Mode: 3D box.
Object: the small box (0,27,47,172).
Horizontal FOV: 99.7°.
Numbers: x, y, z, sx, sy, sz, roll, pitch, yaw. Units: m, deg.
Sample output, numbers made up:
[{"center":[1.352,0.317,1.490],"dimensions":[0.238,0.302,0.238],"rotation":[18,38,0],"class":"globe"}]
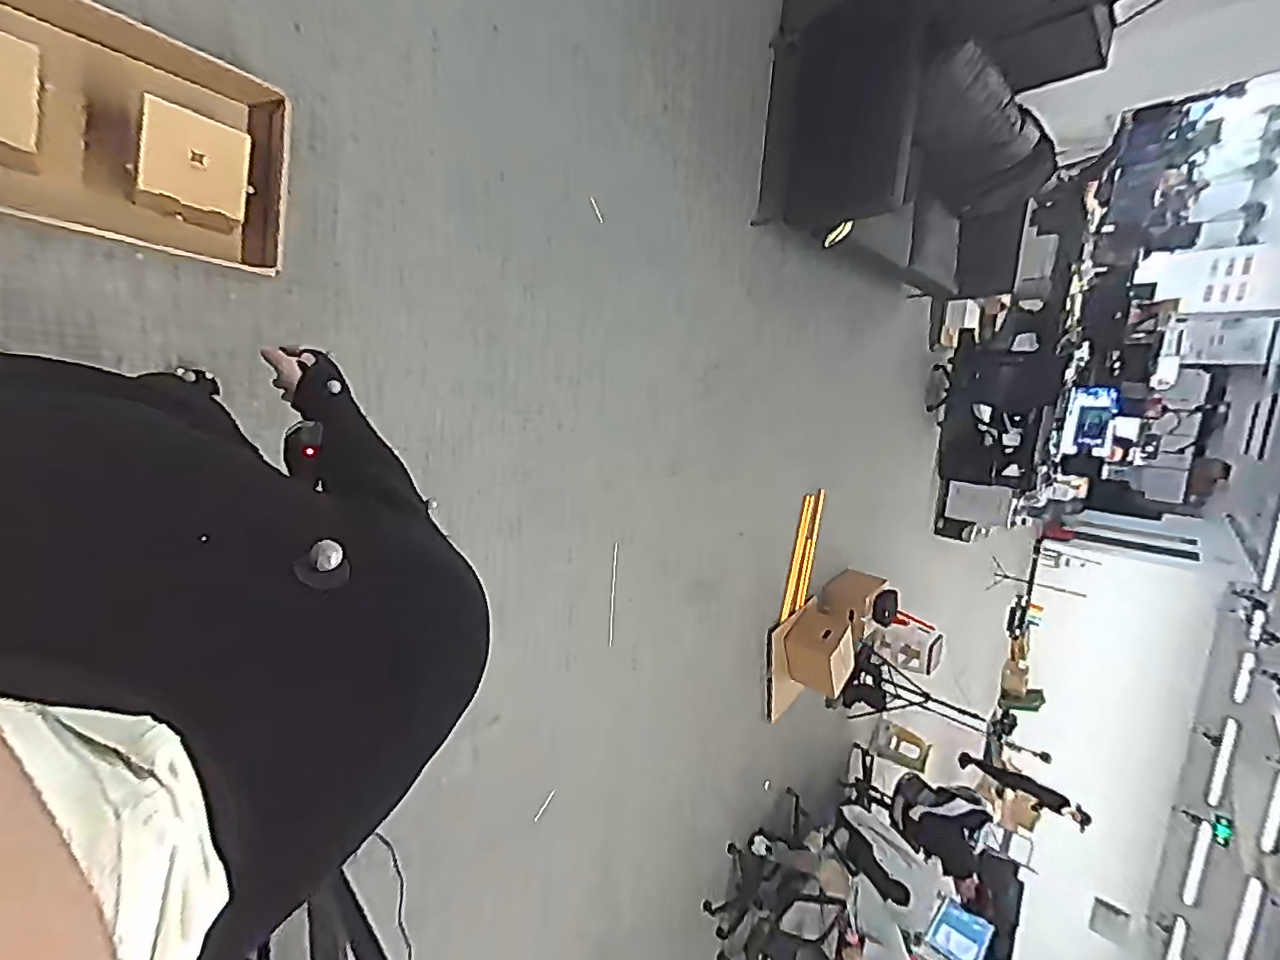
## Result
[{"center":[-1.126,-0.659,0.909],"dimensions":[0.168,0.176,0.179],"rotation":[3,96,-46],"class":"small box"}]
